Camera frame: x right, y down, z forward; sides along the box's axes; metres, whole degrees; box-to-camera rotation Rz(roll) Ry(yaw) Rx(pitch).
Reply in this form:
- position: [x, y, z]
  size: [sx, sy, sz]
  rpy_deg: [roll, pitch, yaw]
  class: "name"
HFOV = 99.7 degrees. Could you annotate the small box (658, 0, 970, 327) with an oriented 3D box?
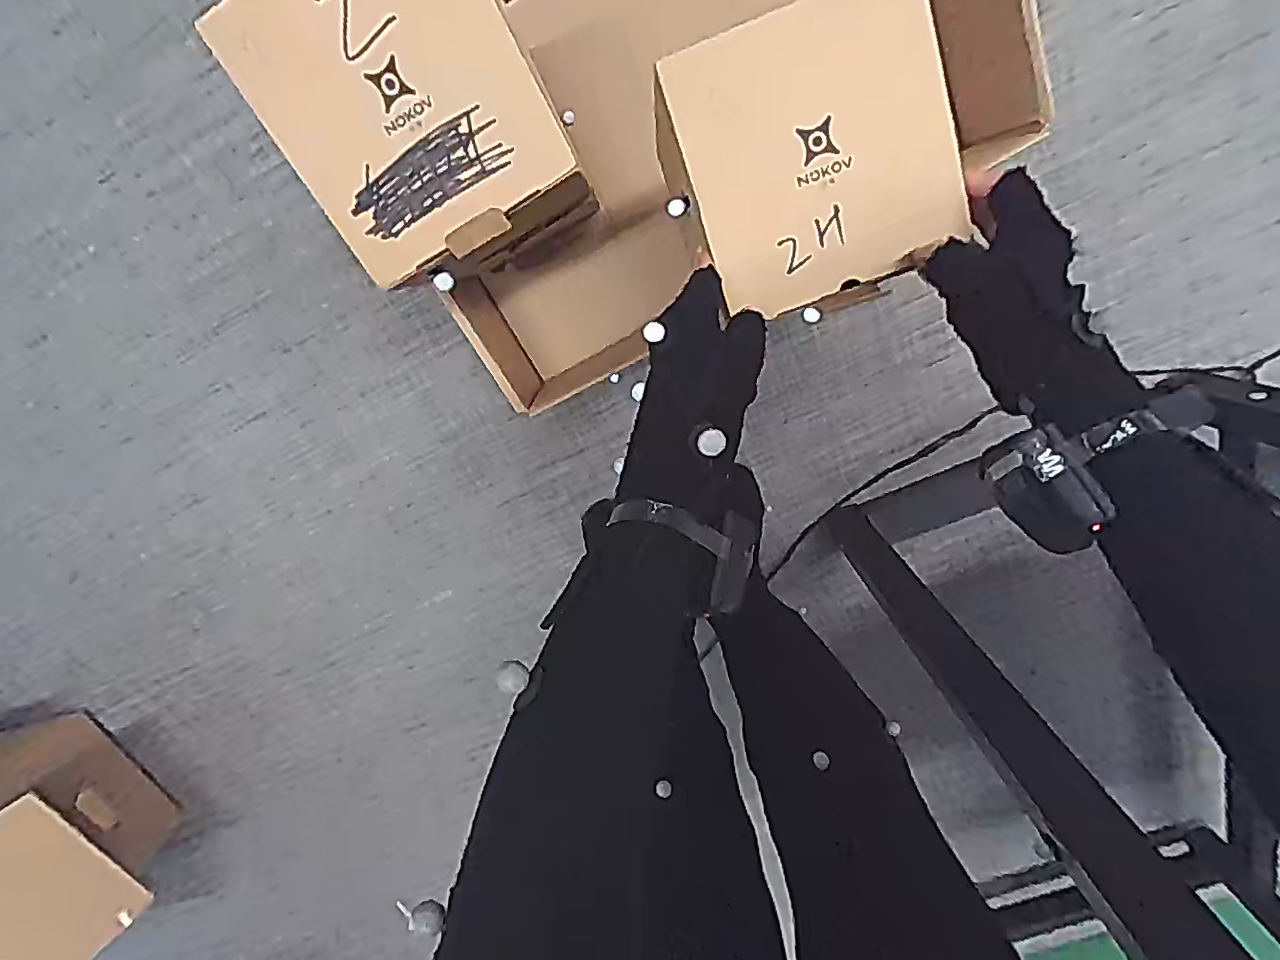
- position: [0.116, -0.231, 0.424]
  size: [0.168, 0.176, 0.179]
  rpy_deg: [-19, 103, 7]
  class: "small box"
